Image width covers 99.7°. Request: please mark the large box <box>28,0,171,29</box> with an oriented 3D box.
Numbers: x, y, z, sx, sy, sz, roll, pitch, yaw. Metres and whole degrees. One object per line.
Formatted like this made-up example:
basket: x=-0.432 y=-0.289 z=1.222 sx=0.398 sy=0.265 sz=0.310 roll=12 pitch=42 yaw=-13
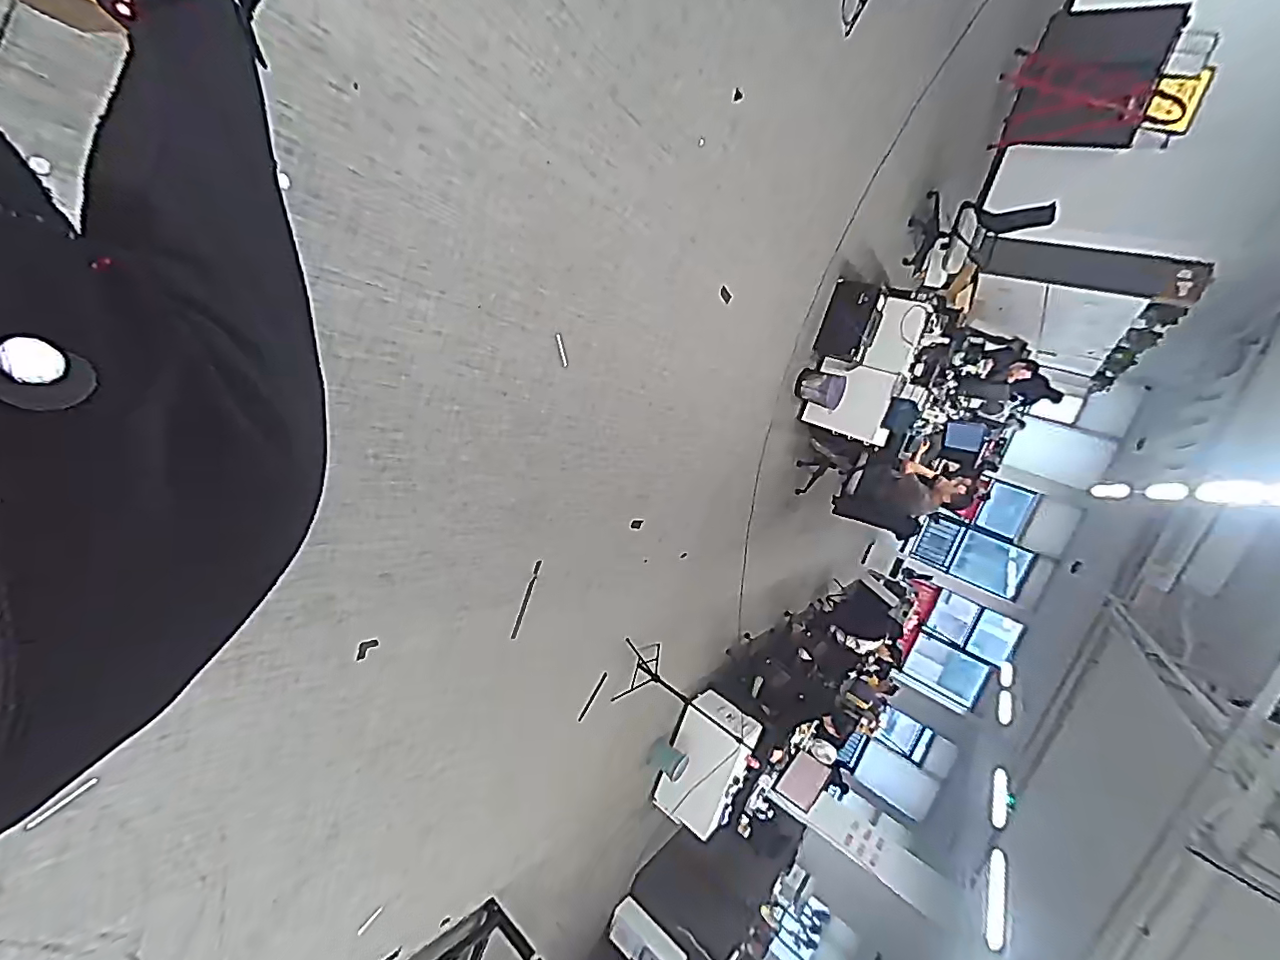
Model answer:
large box: x=-0.572 y=-0.578 z=0.329 sx=0.408 sy=0.320 sz=0.320 roll=0 pitch=117 yaw=-57
